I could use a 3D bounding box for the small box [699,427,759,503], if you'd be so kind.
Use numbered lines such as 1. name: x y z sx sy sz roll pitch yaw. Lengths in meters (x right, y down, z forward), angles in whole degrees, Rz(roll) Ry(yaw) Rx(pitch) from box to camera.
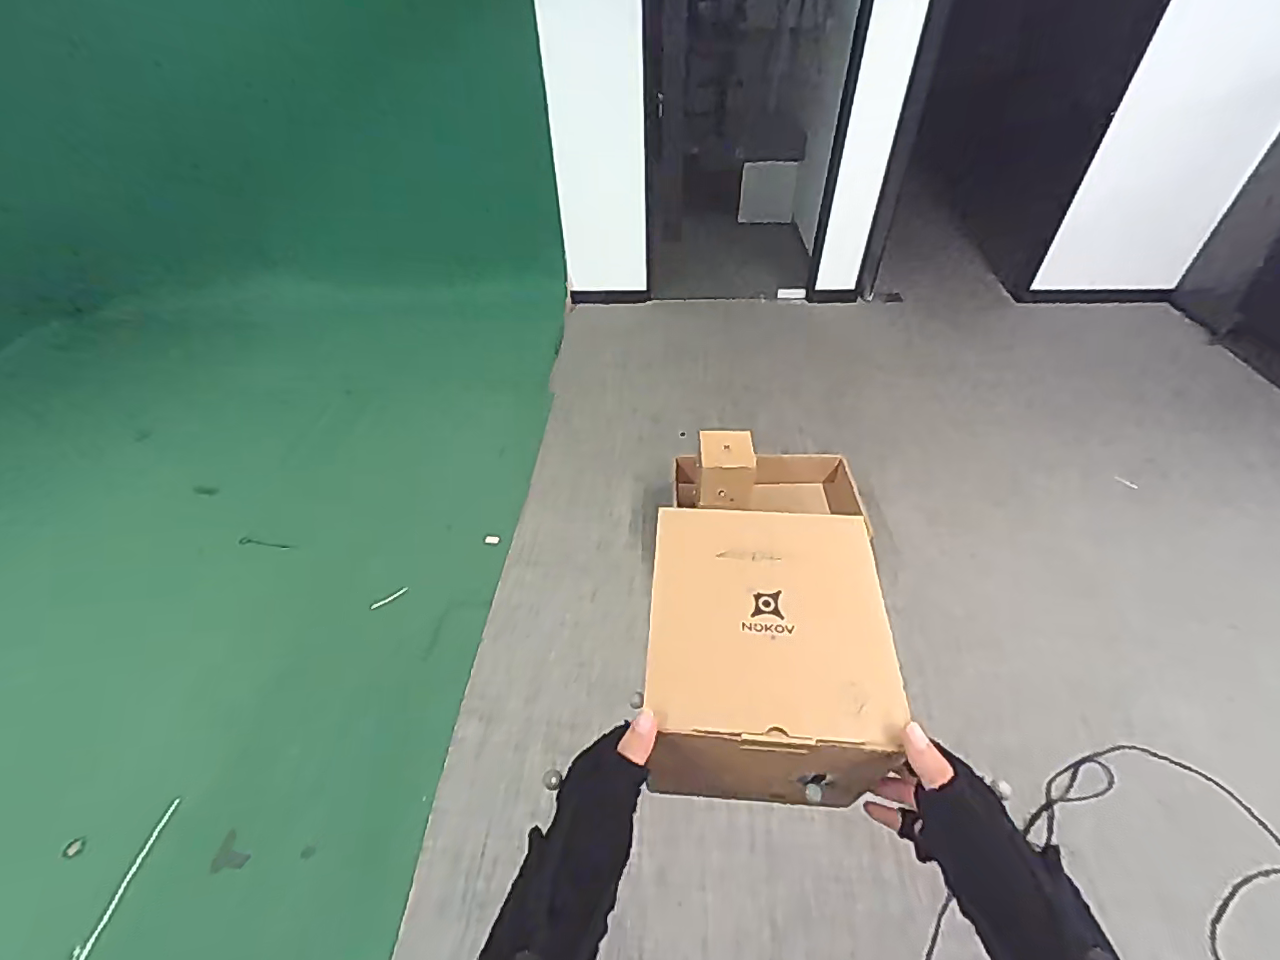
1. small box: 0.278 -0.049 1.734 0.168 0.176 0.179 1 44 2

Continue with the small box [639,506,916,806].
1. small box: 0.092 0.144 0.434 0.168 0.176 0.179 4 49 5

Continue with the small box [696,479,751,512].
1. small box: 0.280 0.070 1.845 0.168 0.176 0.179 2 44 3
